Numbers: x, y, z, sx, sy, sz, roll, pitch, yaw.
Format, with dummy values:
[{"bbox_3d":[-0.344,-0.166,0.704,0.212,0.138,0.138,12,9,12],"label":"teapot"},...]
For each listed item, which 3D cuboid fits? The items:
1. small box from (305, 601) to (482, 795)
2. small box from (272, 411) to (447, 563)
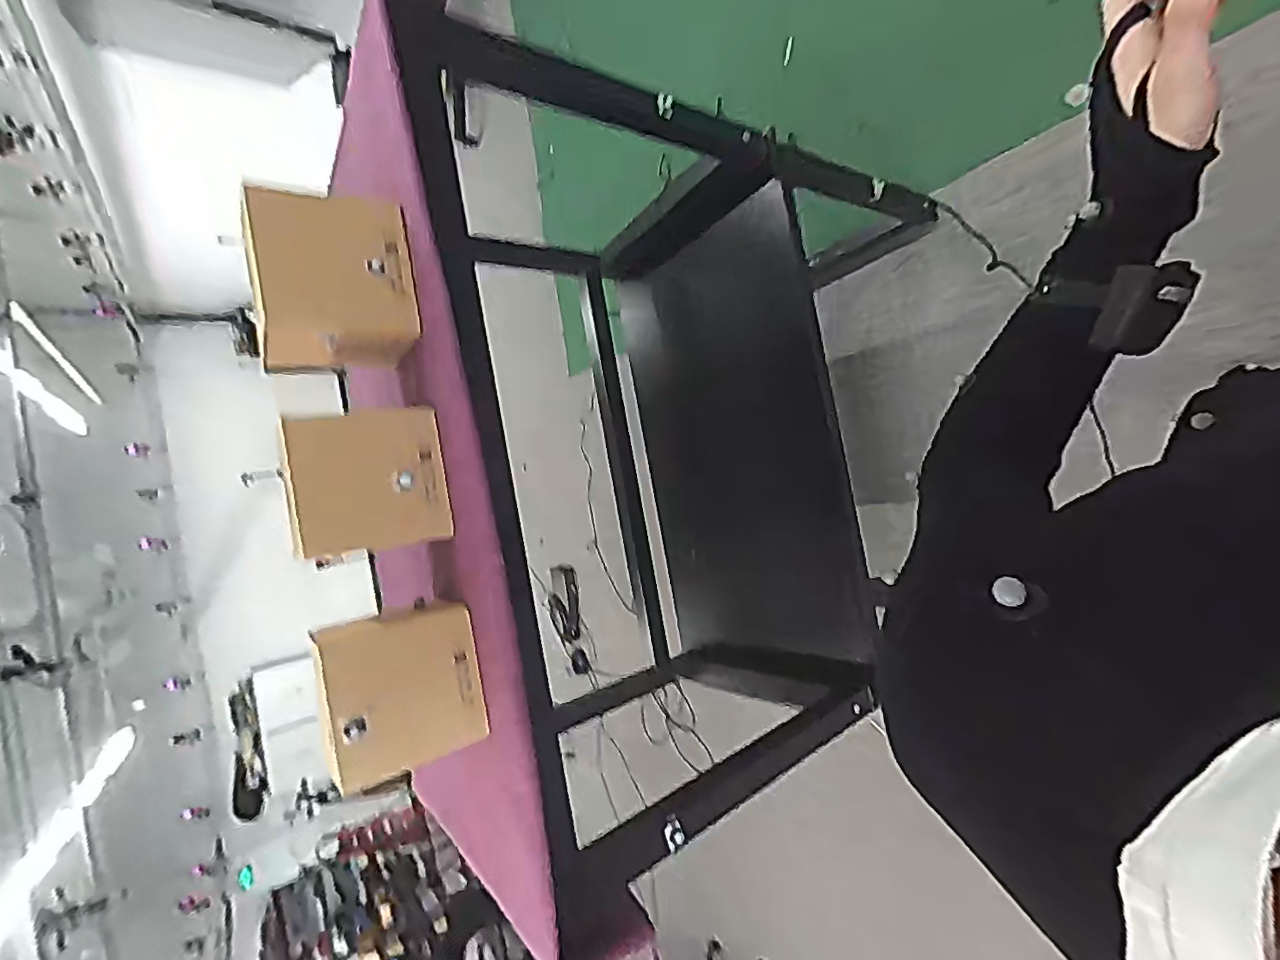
[{"bbox_3d":[-0.317,0.259,0.692,0.179,0.176,0.168,-14,86,55],"label":"small box"},{"bbox_3d":[-0.365,0.010,0.702,0.179,0.176,0.168,-12,88,53],"label":"small box"}]
